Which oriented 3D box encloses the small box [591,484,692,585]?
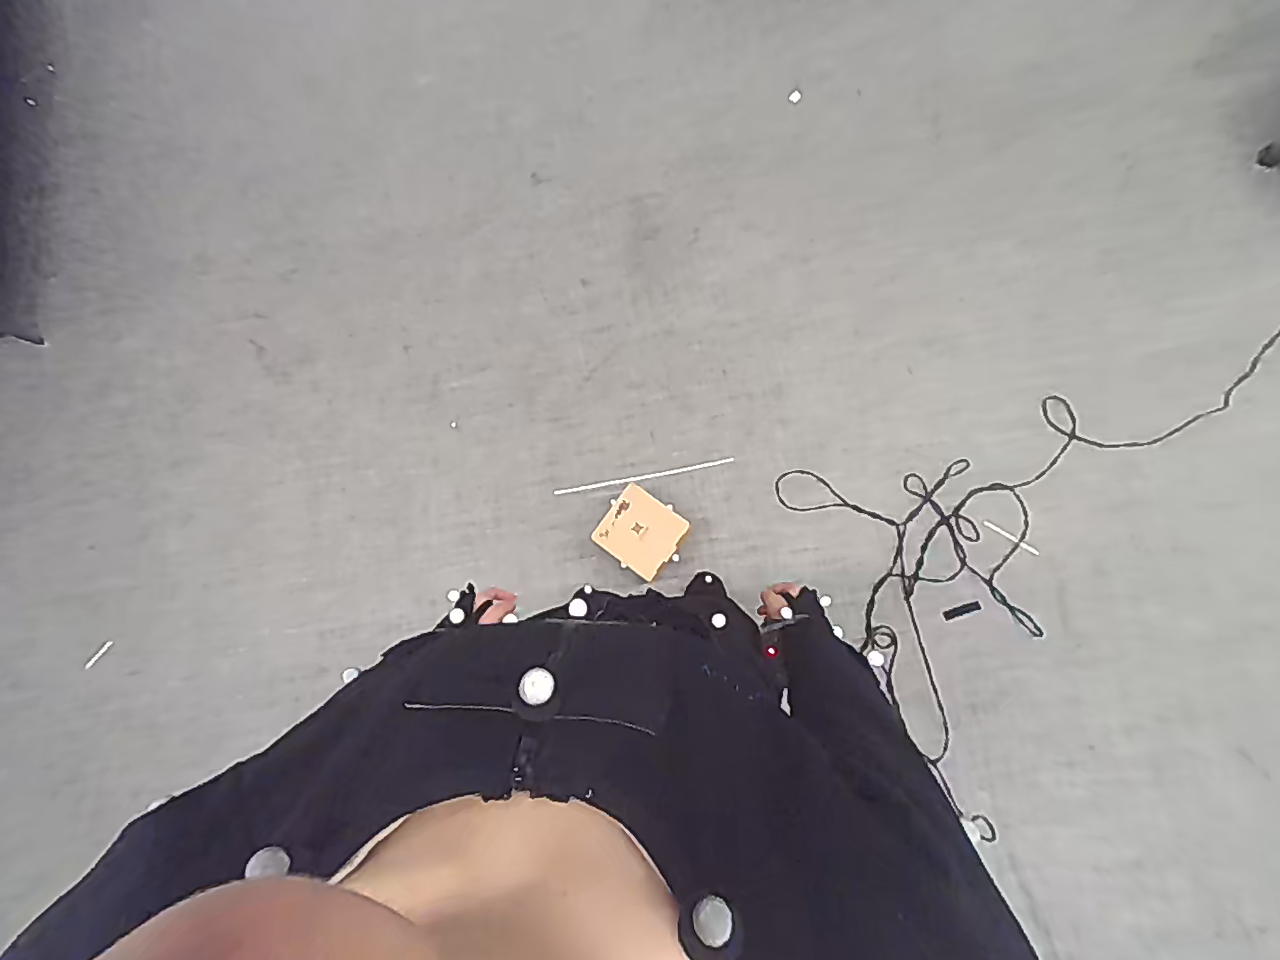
[{"bbox_3d":[0.011,0.133,1.306,0.179,0.176,0.168,36,85,10],"label":"small box"}]
